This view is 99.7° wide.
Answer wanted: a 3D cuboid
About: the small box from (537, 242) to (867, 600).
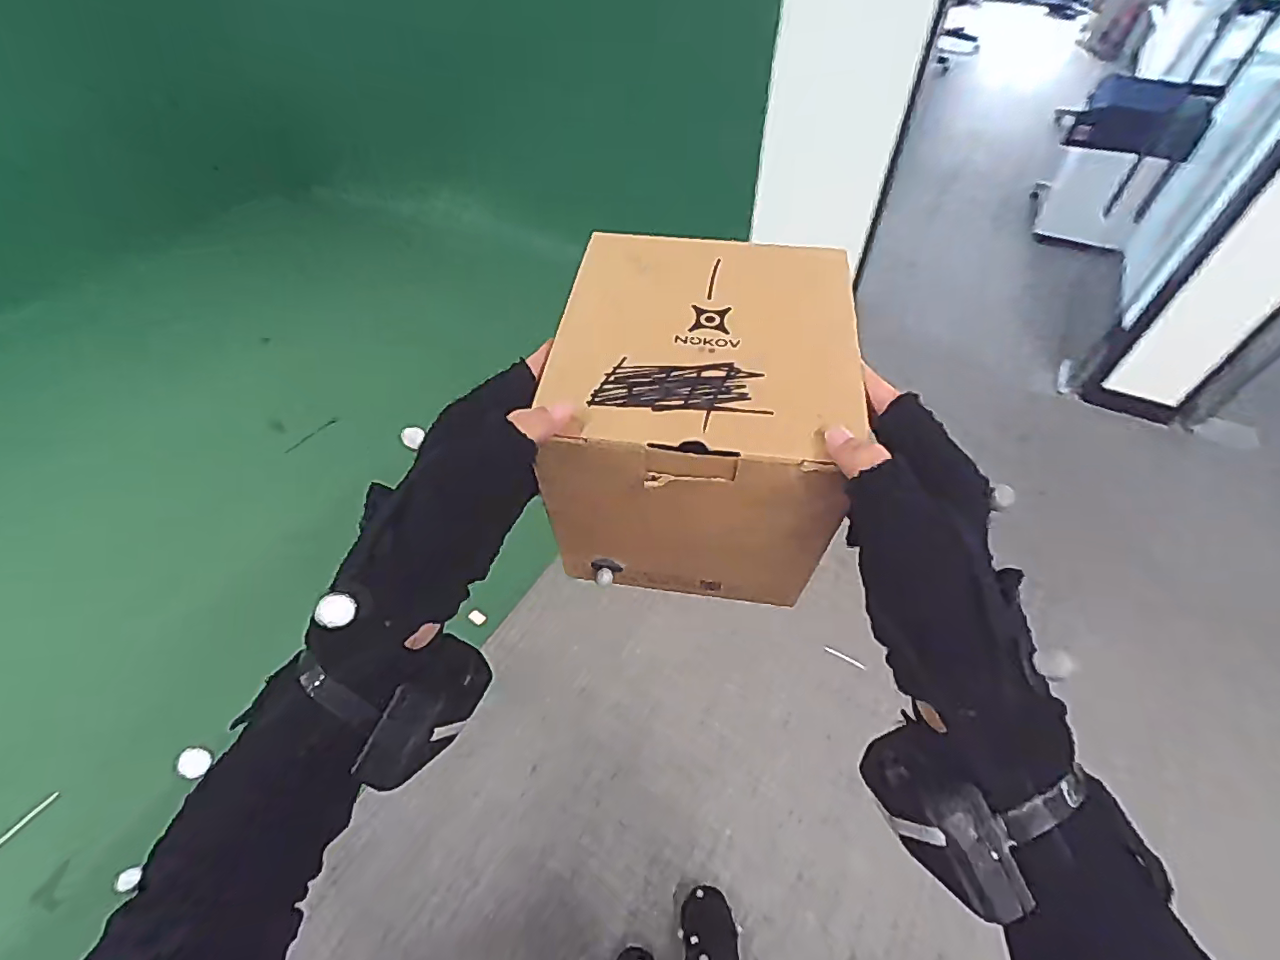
[{"bbox_3d":[0.044,-0.035,0.373,0.168,0.176,0.179,7,55,6],"label":"small box"}]
